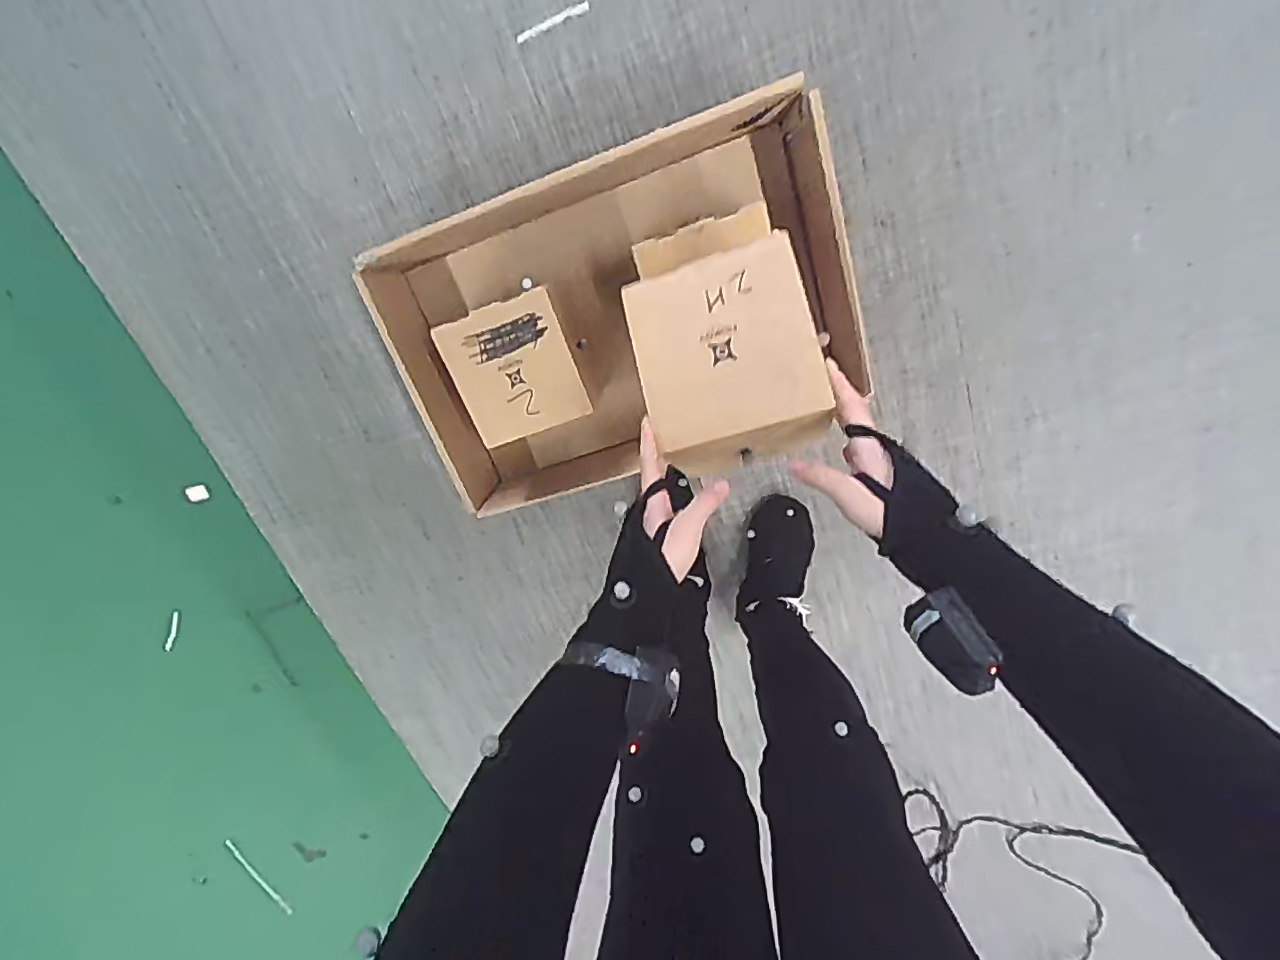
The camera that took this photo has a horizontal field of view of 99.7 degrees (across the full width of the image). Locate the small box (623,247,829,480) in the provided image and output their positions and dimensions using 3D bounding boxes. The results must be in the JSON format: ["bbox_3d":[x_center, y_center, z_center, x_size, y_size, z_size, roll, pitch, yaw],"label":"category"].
[{"bbox_3d":[0.097,-0.104,0.578,0.168,0.176,0.179,-14,77,14],"label":"small box"}]

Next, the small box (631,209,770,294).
[{"bbox_3d":[0.097,-0.253,0.750,0.168,0.176,0.179,-16,110,10],"label":"small box"}]
